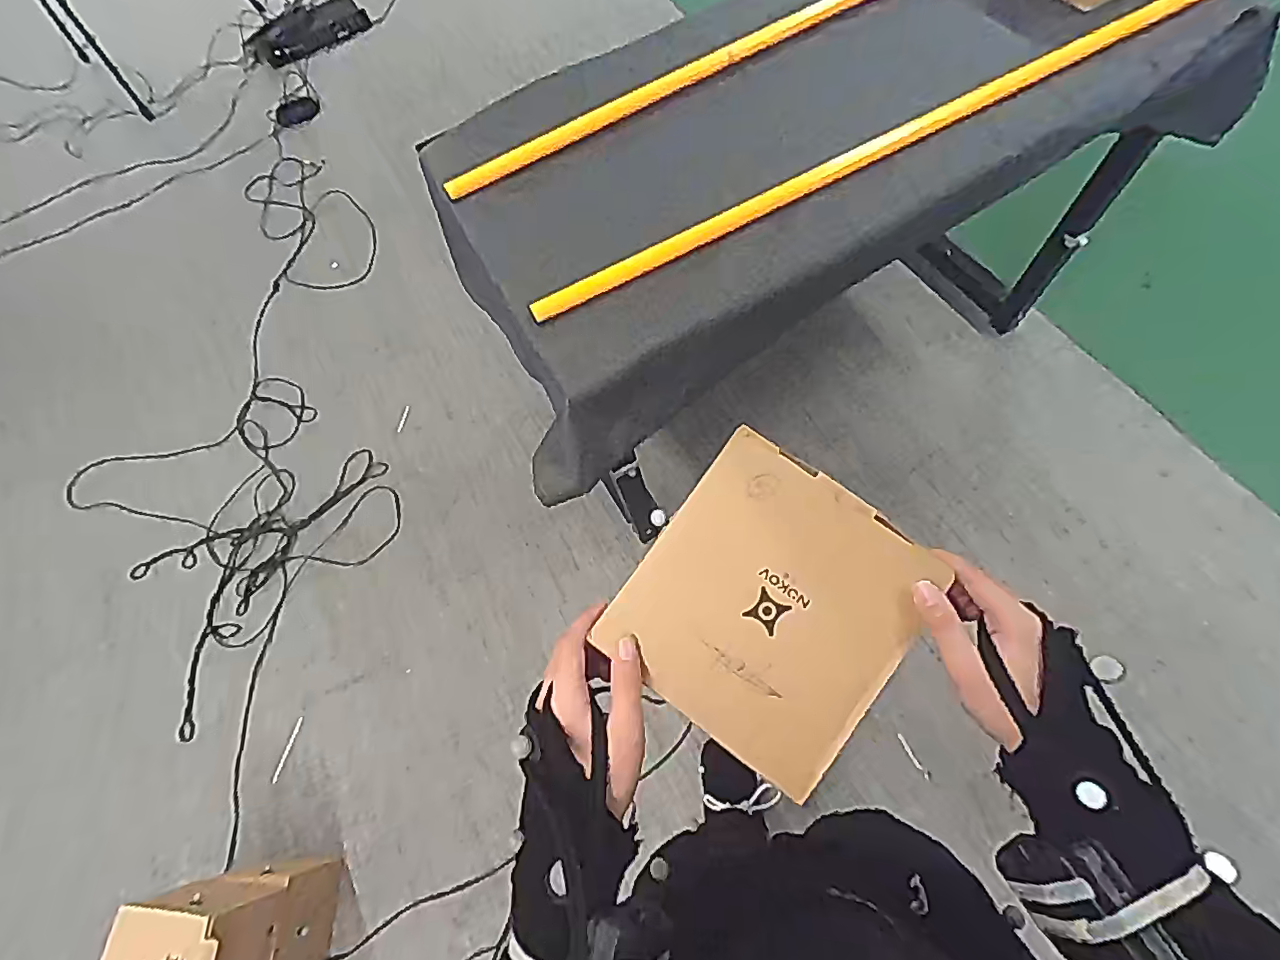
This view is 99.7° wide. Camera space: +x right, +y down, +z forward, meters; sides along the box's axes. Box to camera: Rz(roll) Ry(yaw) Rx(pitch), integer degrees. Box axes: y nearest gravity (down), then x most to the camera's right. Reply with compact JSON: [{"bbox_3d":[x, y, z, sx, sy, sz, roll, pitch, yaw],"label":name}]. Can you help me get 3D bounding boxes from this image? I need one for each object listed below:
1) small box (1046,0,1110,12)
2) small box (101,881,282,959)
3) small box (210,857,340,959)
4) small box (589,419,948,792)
[{"bbox_3d":[0.718,-0.864,0.823,0.168,0.176,0.179,-29,65,-4],"label":"small box"},{"bbox_3d":[-0.752,0.798,0.906,0.179,0.176,0.168,0,65,9],"label":"small box"},{"bbox_3d":[-0.721,0.861,1.055,0.168,0.176,0.179,-5,65,6],"label":"small box"},{"bbox_3d":[0.084,0.084,0.420,0.168,0.176,0.179,35,86,8],"label":"small box"}]
